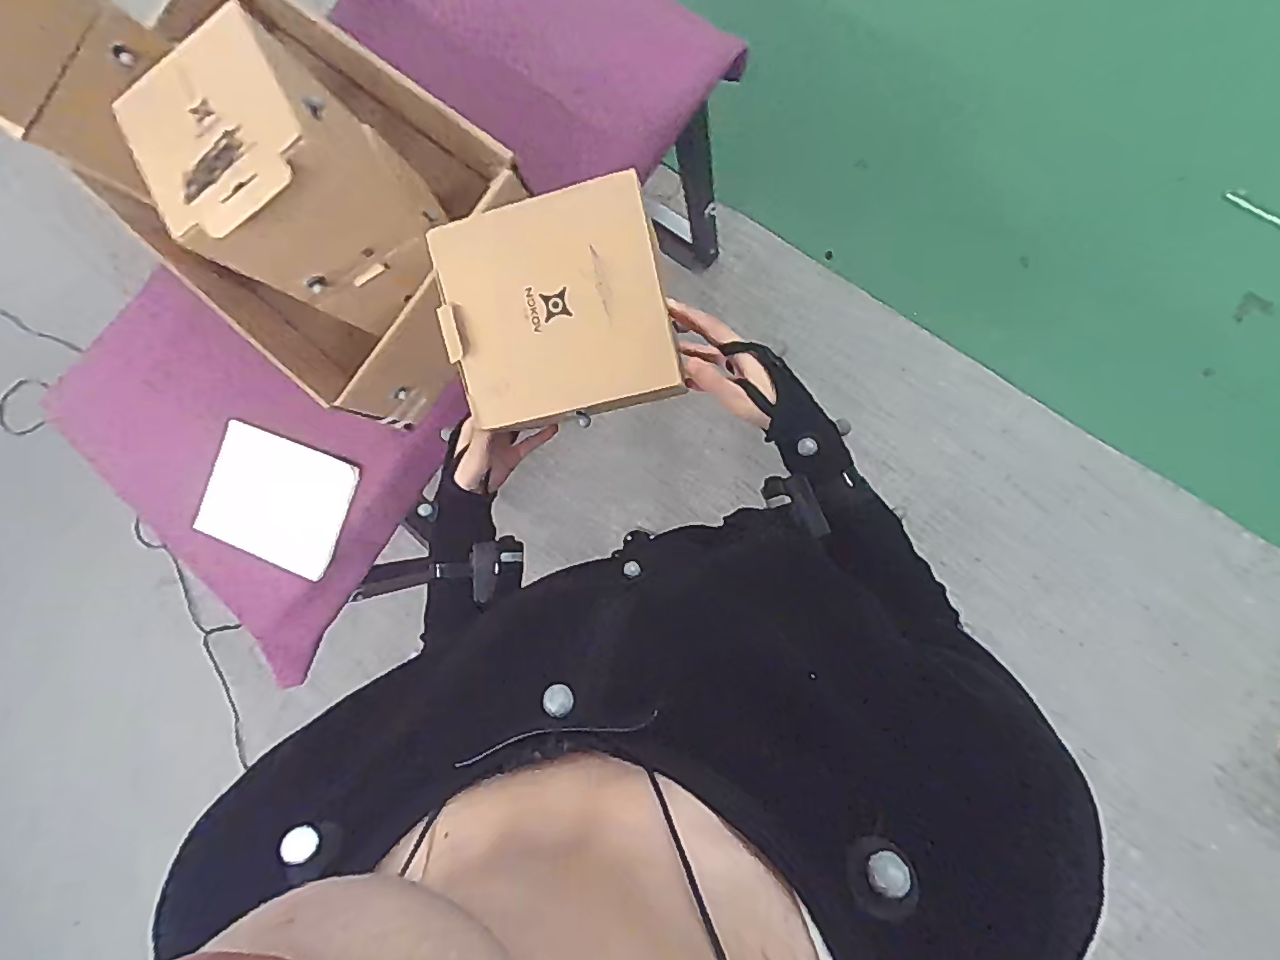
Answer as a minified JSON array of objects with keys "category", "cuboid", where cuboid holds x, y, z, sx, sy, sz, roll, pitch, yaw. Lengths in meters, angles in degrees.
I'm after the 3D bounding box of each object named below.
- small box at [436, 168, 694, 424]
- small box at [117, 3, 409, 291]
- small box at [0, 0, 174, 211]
[{"category":"small box","cuboid":[-0.052,-0.146,0.499,0.179,0.176,0.168,-11,95,9]},{"category":"small box","cuboid":[-0.390,-0.332,0.586,0.168,0.176,0.179,-31,80,9]},{"category":"small box","cuboid":[-0.636,-0.460,0.643,0.168,0.176,0.179,37,93,9]}]
